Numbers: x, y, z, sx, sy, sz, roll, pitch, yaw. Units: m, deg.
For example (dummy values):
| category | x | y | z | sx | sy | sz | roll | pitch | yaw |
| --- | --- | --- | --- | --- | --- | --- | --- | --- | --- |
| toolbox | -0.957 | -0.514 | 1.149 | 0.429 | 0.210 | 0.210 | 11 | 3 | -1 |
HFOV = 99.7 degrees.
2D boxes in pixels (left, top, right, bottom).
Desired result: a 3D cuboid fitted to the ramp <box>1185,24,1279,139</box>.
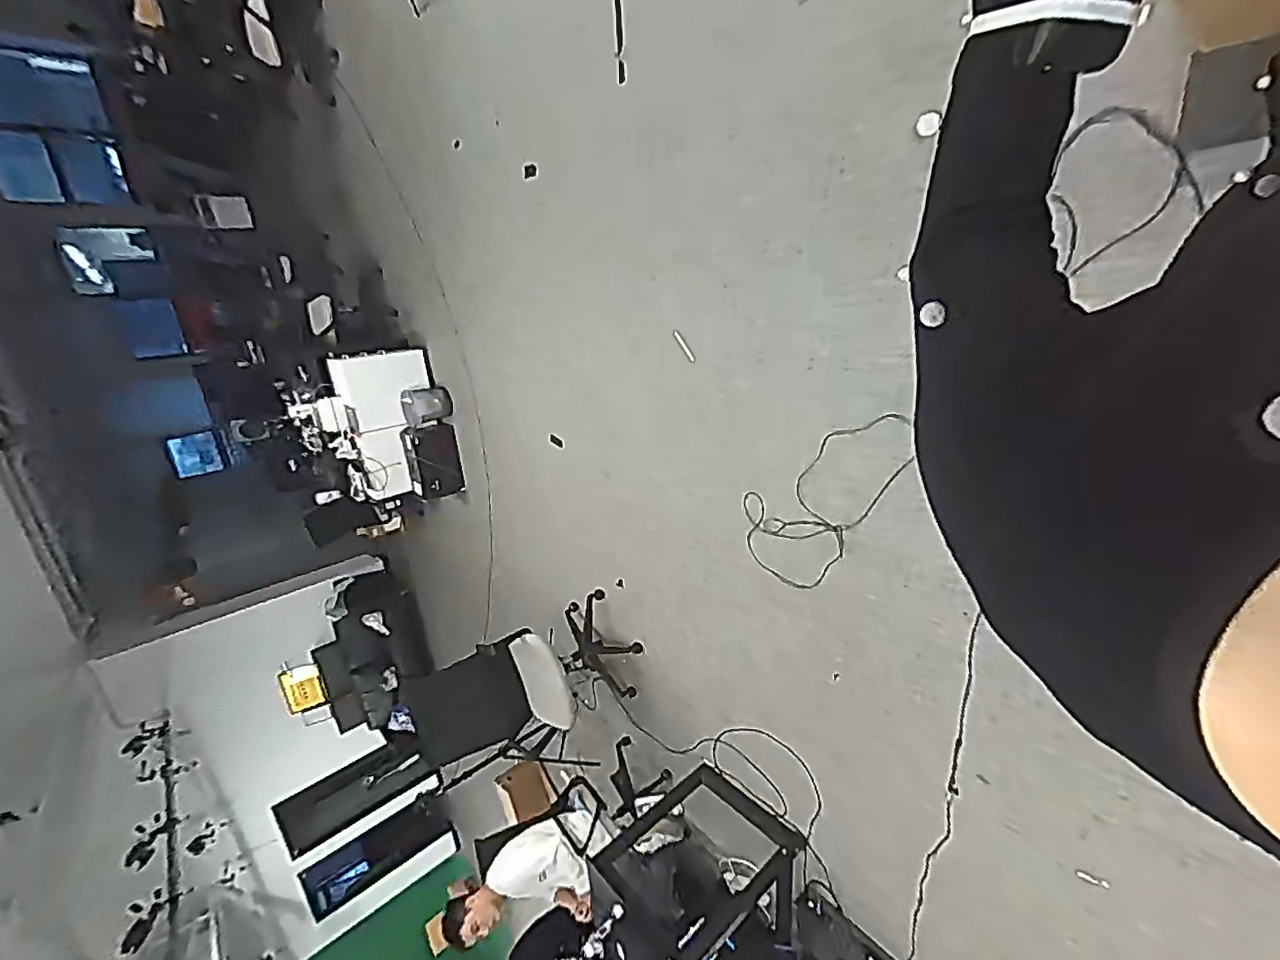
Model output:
| category | x | y | z | sx | sy | sz | roll | pitch | yaw |
| --- | --- | --- | --- | --- | --- | --- | --- | --- | --- |
| ramp | 1.037 | -1.008 | 0.594 | 0.509 | 0.206 | 0.991 | 13 | 117 | 47 |
